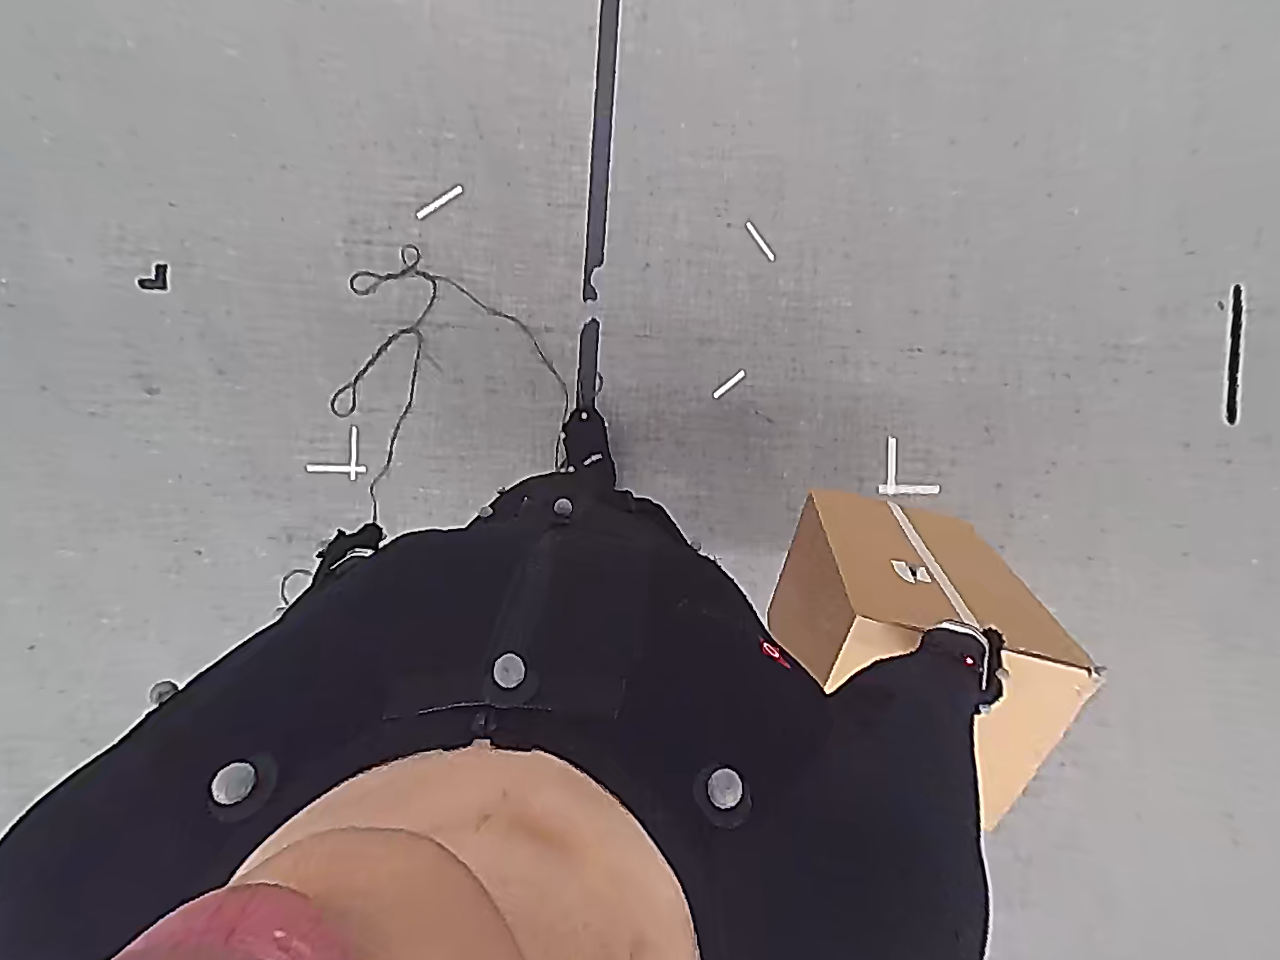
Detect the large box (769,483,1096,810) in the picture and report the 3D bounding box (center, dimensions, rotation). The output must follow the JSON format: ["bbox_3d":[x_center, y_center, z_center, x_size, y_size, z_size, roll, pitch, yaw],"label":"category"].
[{"bbox_3d":[0.429,0.254,0.933,0.320,0.408,0.320,13,116,3],"label":"large box"}]
